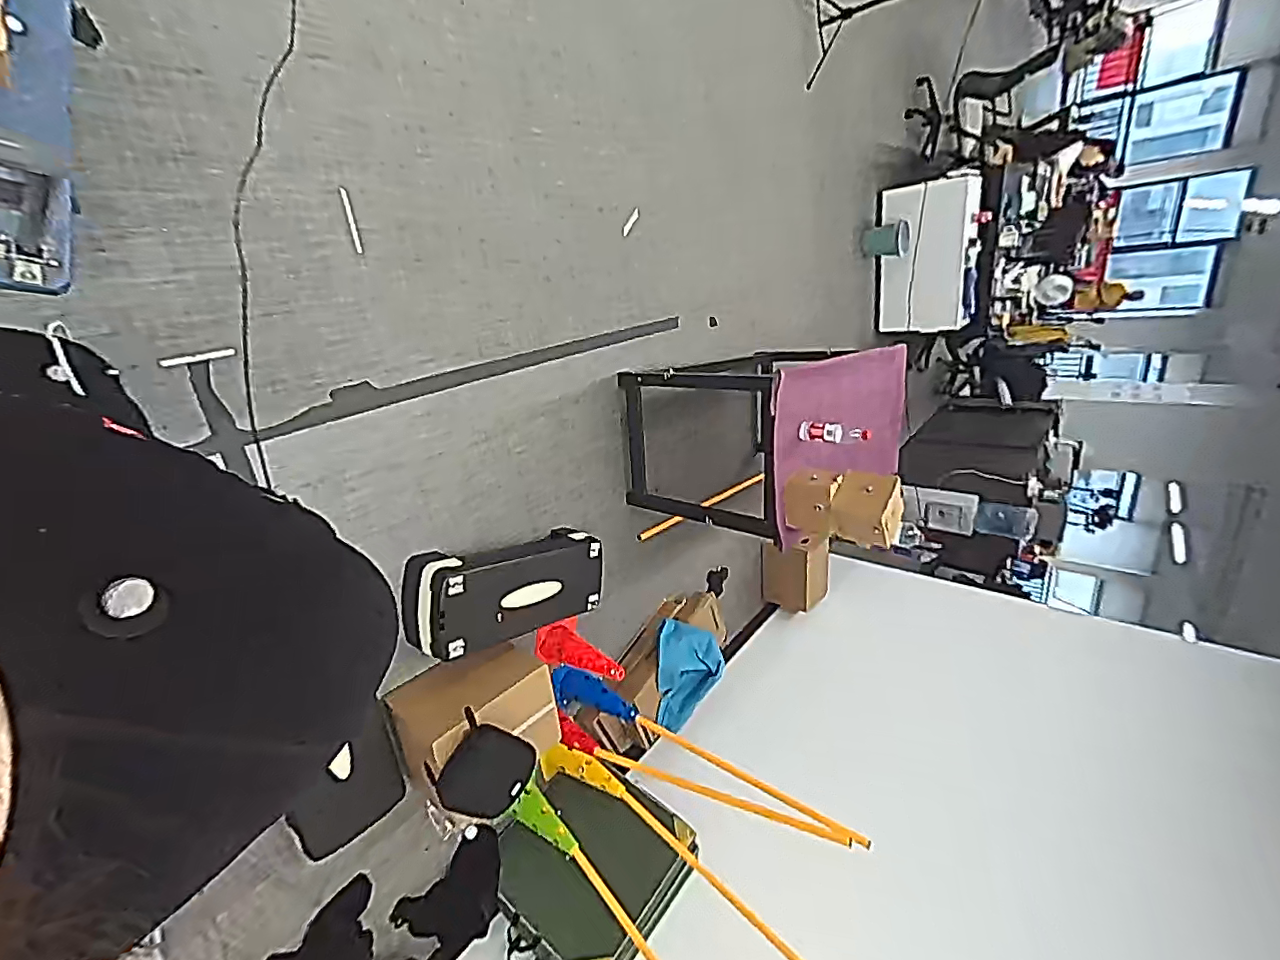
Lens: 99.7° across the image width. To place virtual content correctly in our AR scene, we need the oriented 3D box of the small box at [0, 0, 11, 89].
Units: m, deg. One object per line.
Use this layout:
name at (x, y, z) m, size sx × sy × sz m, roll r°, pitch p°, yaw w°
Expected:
small box at (-0.959, -0.650, 0.701) m, size 0.179 × 0.176 × 0.168 m, roll -6°, pitch 104°, yaw -49°
